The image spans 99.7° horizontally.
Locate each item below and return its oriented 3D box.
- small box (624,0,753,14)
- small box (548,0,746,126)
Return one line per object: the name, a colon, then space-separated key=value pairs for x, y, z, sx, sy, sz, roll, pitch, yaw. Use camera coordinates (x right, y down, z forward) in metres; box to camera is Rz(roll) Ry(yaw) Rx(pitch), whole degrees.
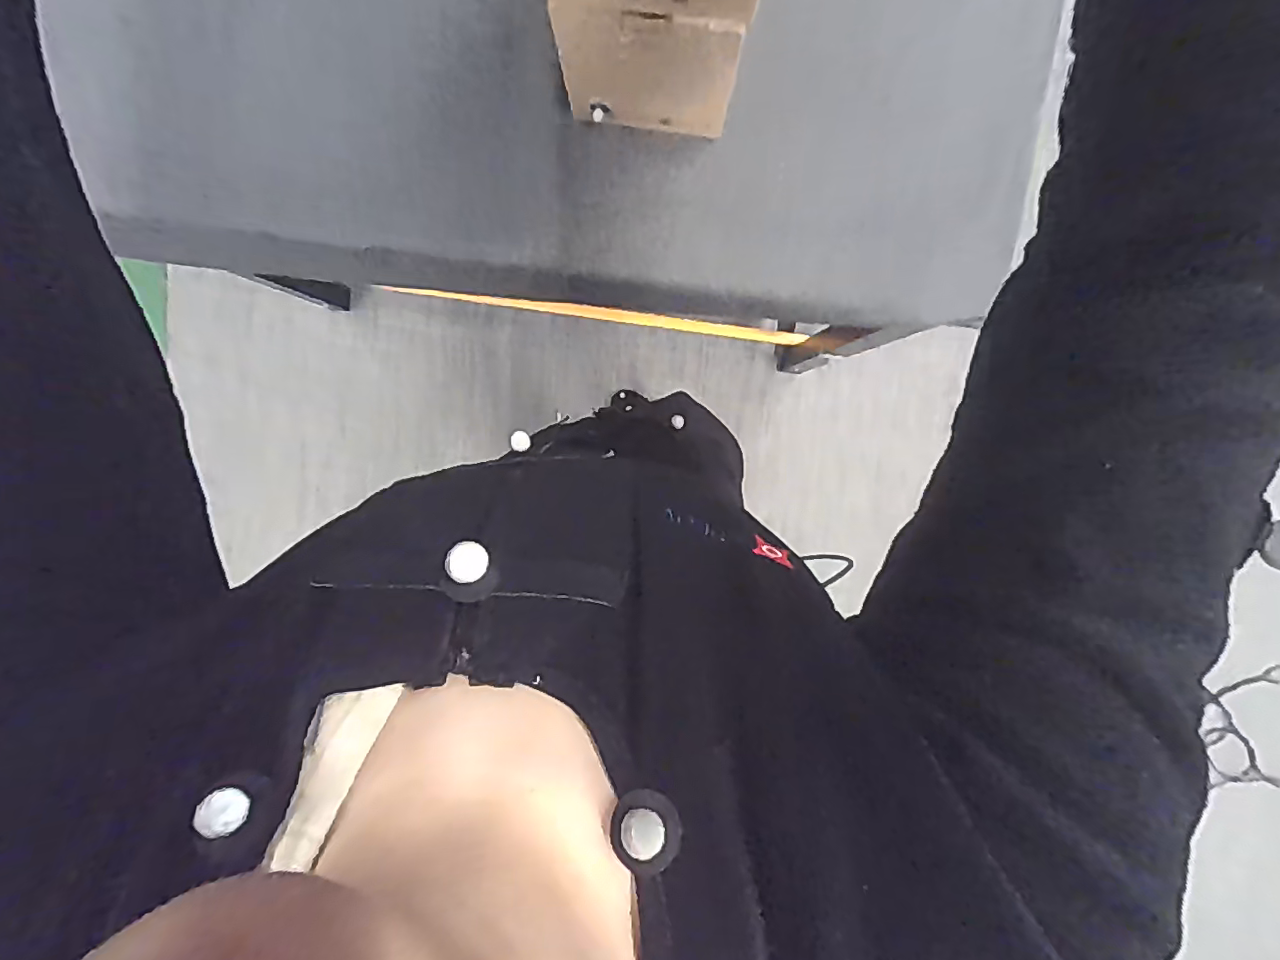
small box: x=0.018 y=-0.457 z=0.342 sx=0.168 sy=0.176 sz=0.179 roll=5 pitch=96 yaw=1
small box: x=0.018 y=-0.471 z=0.506 sx=0.168 sy=0.176 sz=0.179 roll=8 pitch=95 yaw=0
